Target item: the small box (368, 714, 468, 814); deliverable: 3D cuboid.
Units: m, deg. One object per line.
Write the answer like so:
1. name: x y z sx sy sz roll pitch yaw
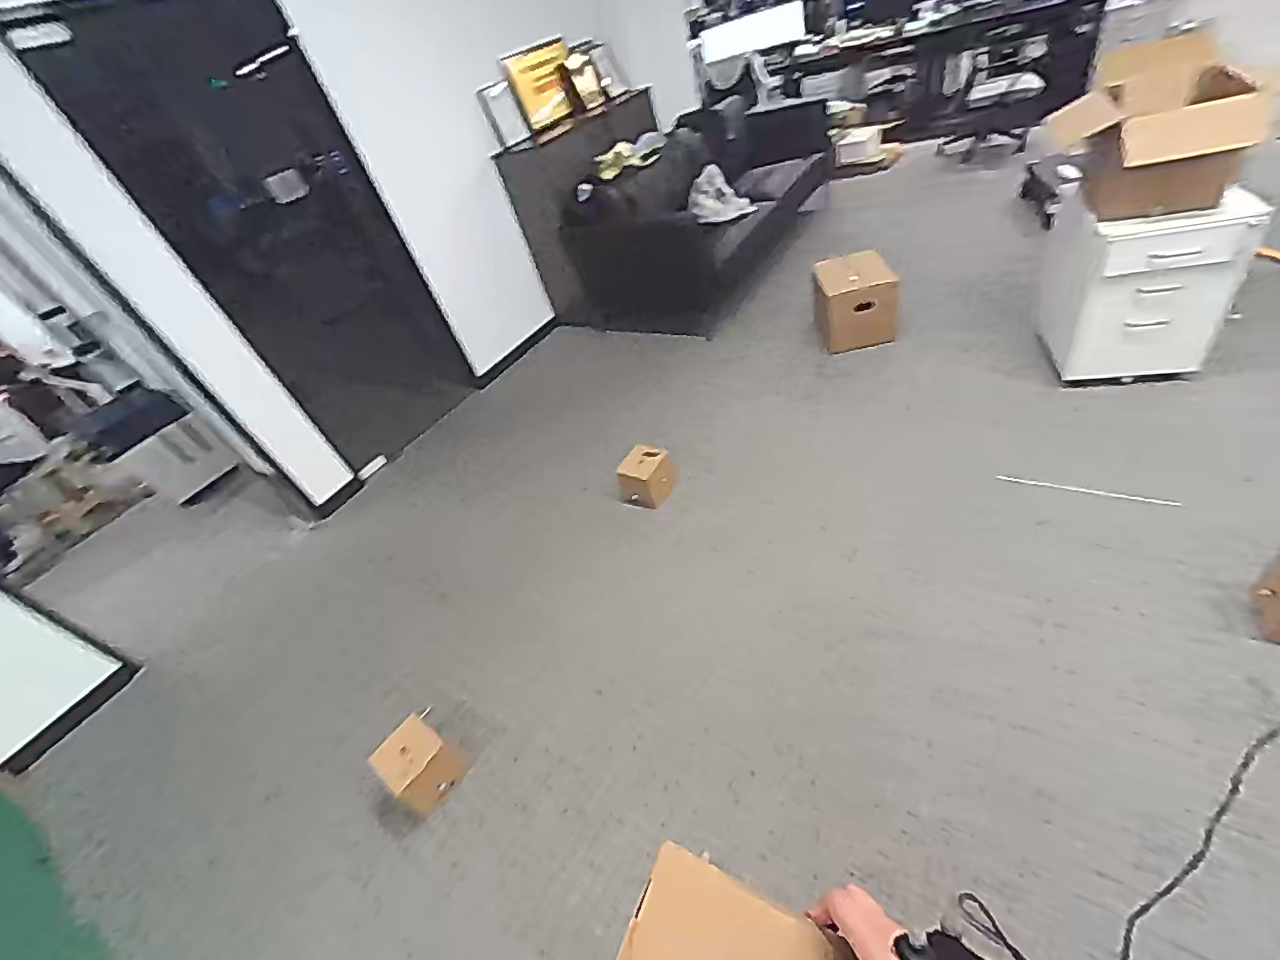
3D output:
1. small box: -0.637 0.823 1.564 0.179 0.176 0.168 19 53 37

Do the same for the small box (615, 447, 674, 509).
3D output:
1. small box: 0.027 -0.007 2.261 0.168 0.176 0.179 15 51 34

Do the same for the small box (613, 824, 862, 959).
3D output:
1. small box: 0.068 0.440 0.476 0.179 0.176 0.168 20 55 15

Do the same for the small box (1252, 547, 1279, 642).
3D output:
1. small box: 1.589 0.286 1.265 0.179 0.176 0.168 10 48 33
